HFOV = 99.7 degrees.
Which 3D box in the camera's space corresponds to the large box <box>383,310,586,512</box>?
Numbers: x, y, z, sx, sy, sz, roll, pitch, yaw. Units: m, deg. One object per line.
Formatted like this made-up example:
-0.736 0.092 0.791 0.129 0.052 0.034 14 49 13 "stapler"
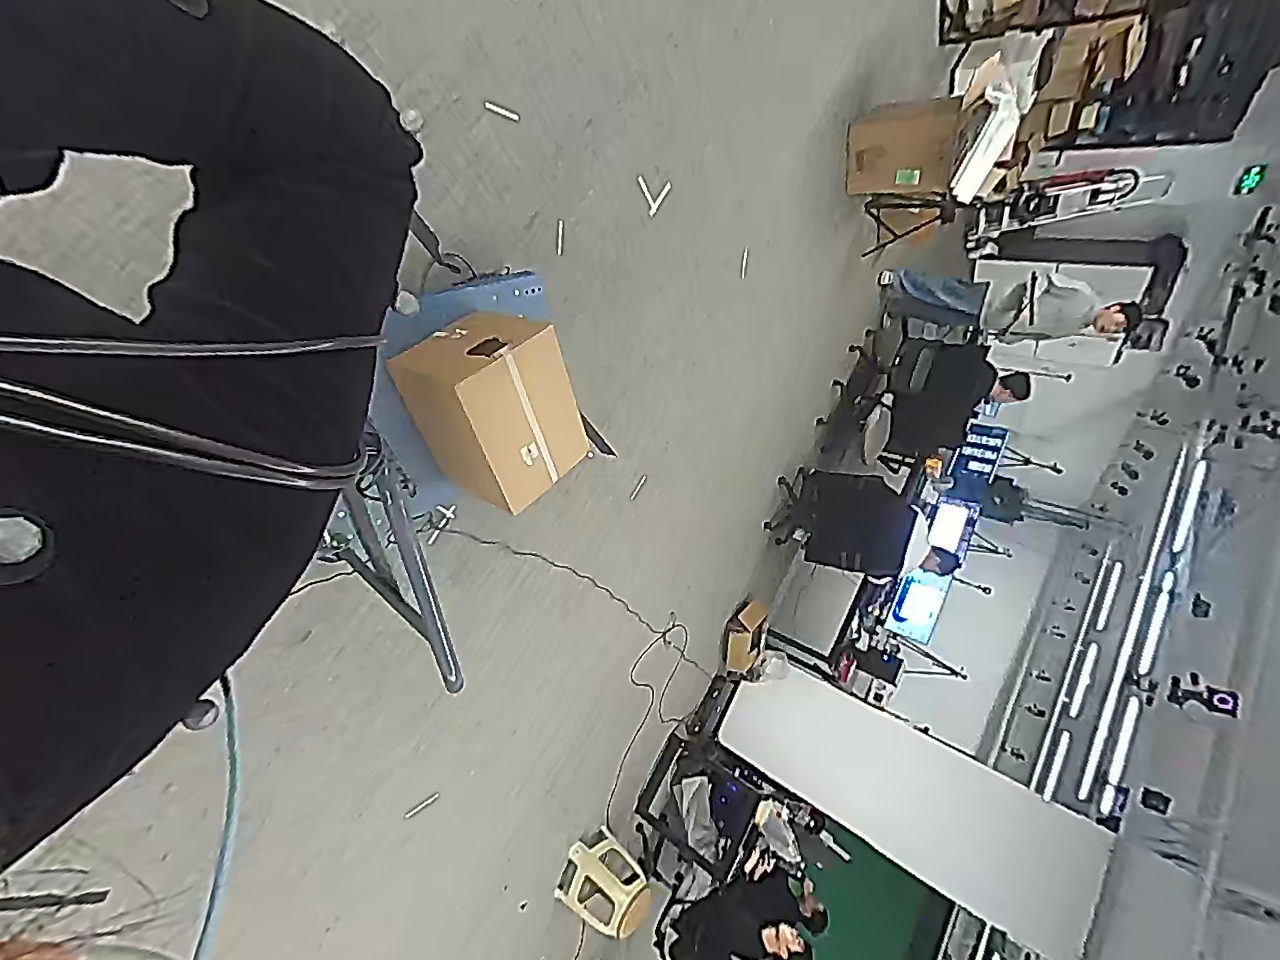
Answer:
-0.399 -0.193 1.453 0.320 0.320 0.408 -44 139 -32 "large box"
